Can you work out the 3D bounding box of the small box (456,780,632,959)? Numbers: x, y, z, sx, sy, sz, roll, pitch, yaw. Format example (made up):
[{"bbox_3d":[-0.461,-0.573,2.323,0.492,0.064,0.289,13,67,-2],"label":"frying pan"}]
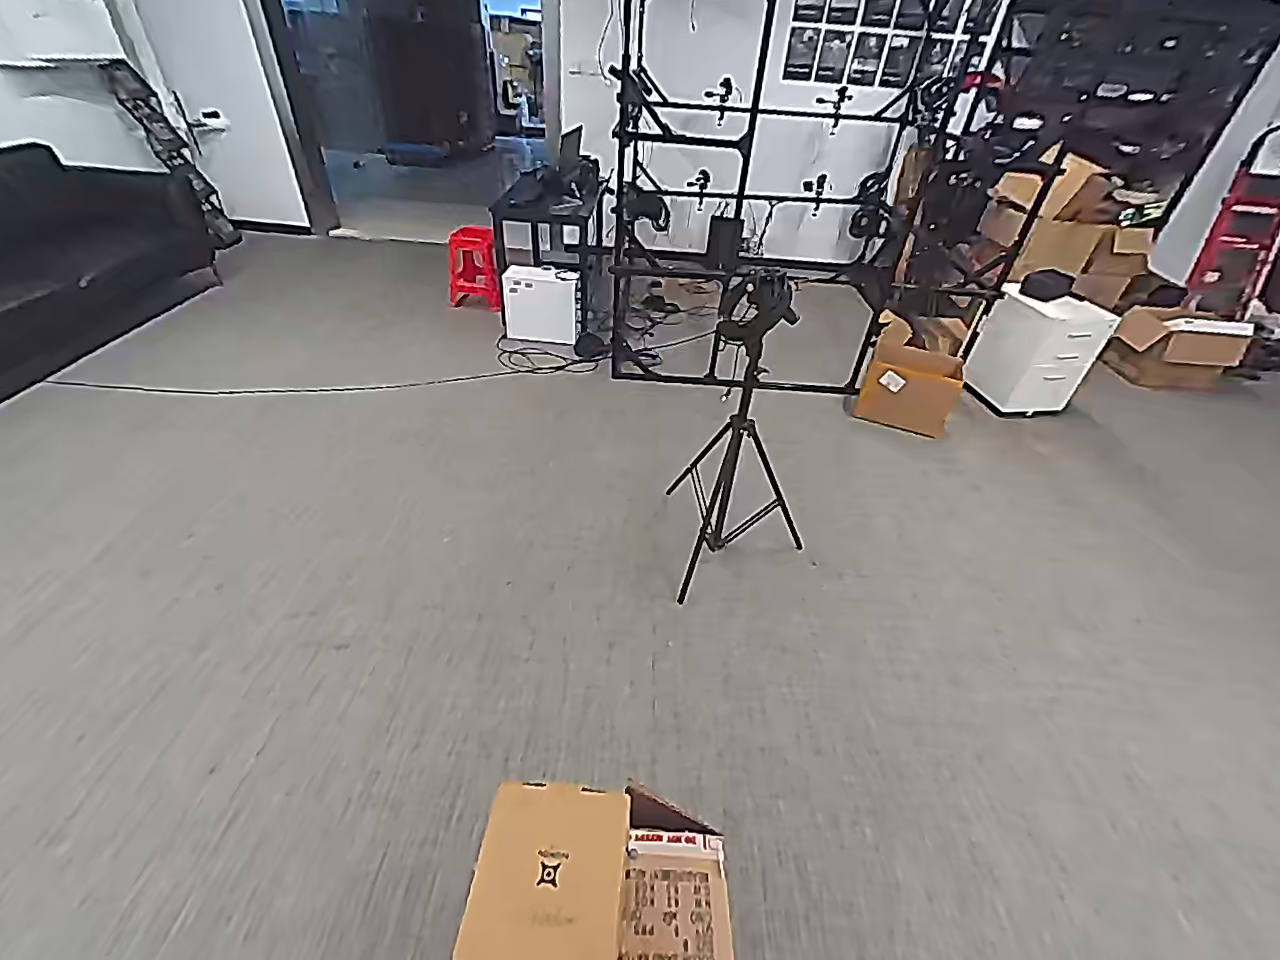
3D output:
[{"bbox_3d":[-0.100,0.492,0.650,0.168,0.176,0.179,3,41,3],"label":"small box"}]
